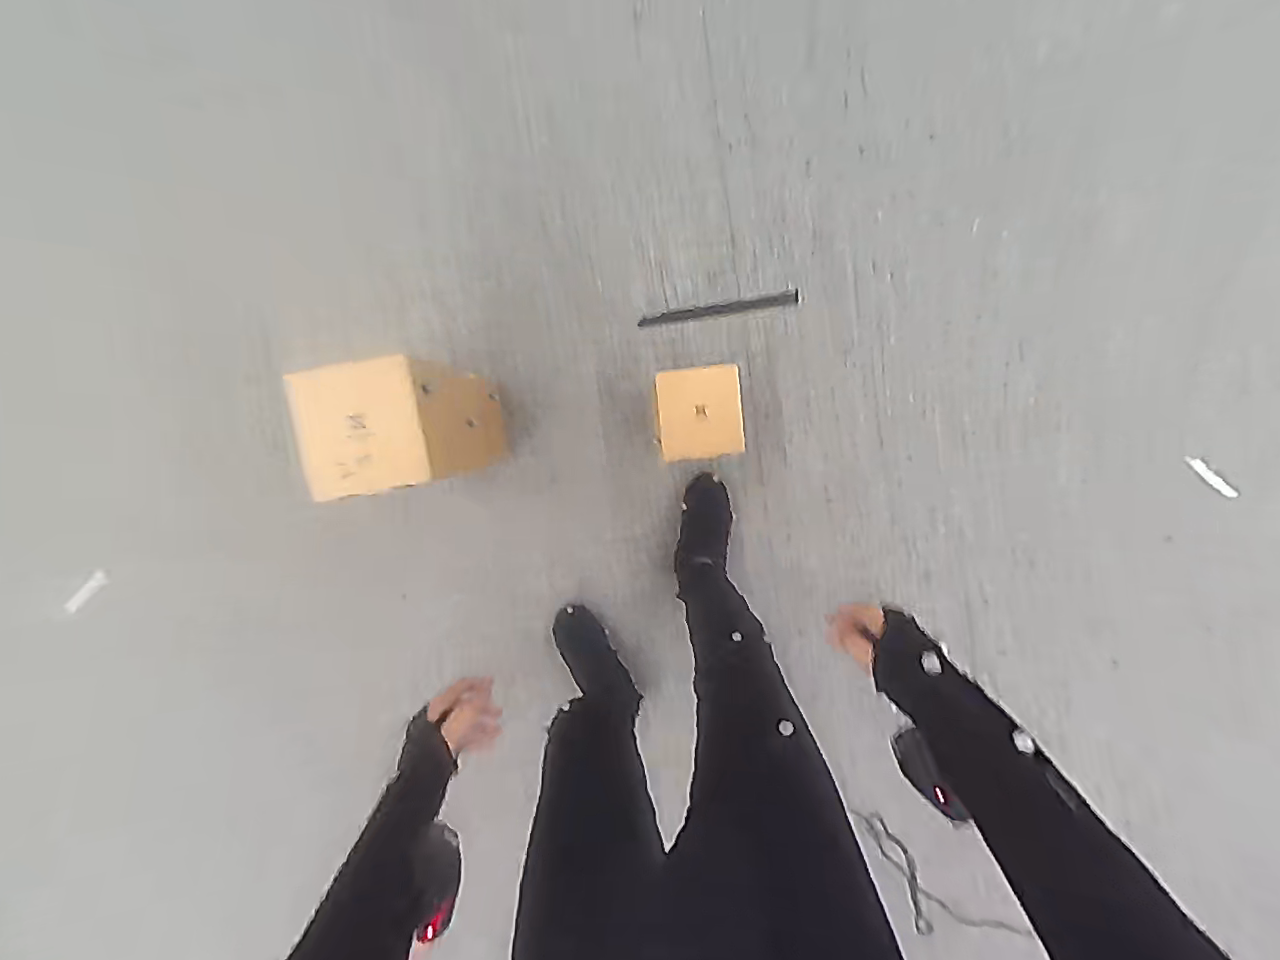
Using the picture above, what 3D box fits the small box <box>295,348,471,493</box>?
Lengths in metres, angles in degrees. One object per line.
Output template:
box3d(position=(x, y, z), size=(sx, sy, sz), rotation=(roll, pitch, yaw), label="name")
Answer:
box3d(position=(-0.367, -0.085, 0.806), size=(0.168, 0.176, 0.179), rotation=(-10, 96, 0), label="small box")

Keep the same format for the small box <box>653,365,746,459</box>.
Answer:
box3d(position=(0.120, -0.140, 1.149), size=(0.168, 0.176, 0.179), rotation=(-6, 96, -2), label="small box")

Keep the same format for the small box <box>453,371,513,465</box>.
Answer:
box3d(position=(-0.374, -0.119, 1.132), size=(0.168, 0.176, 0.179), rotation=(-10, 95, 0), label="small box")
